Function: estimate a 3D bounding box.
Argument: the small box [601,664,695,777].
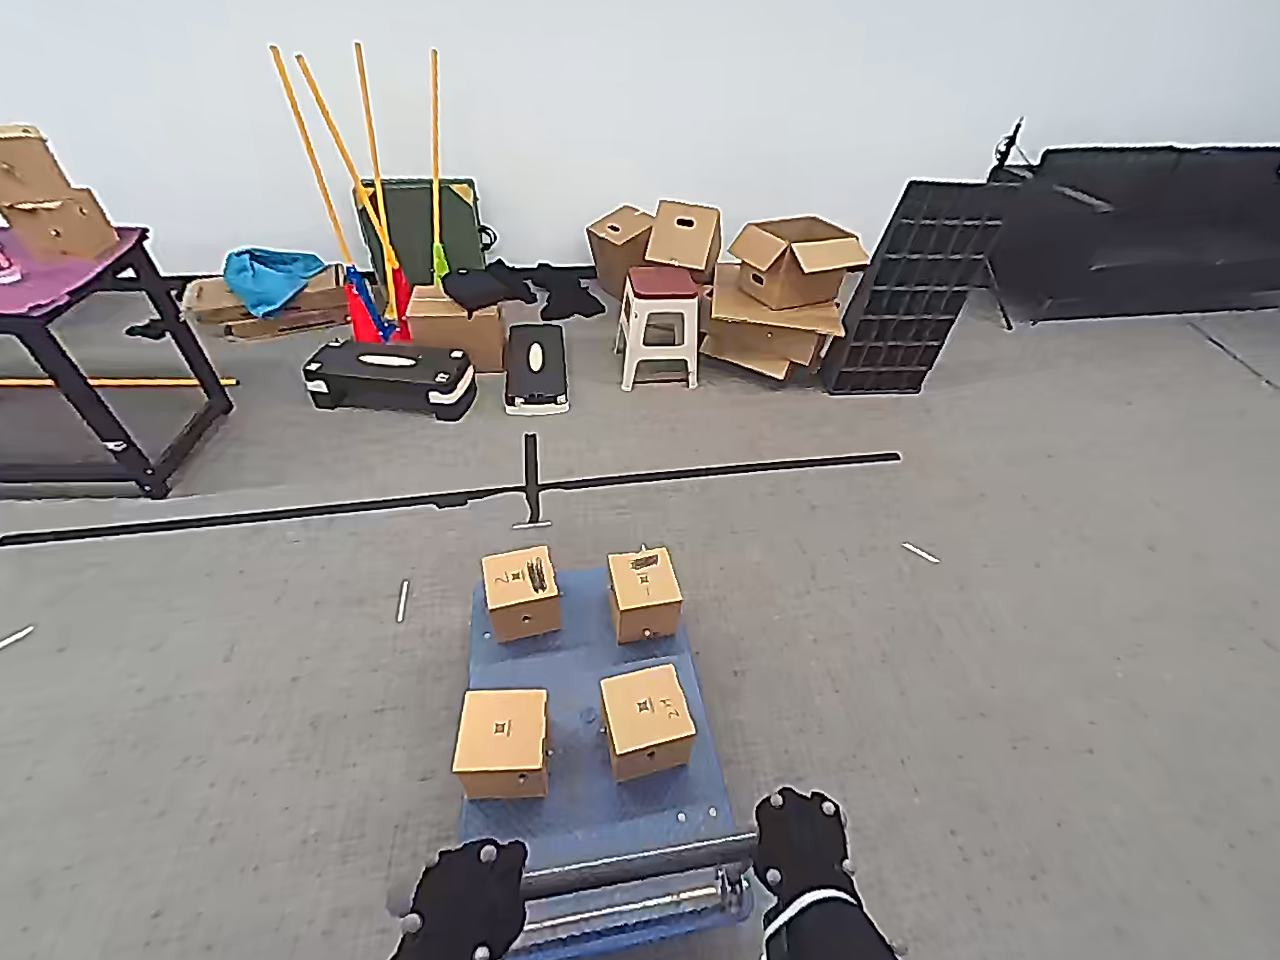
[{"bbox_3d":[0.012,0.550,1.233,0.179,0.176,0.168,-8,45,-13],"label":"small box"}]

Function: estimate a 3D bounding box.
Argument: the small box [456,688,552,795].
[{"bbox_3d":[-0.288,0.574,1.182,0.179,0.176,0.168,1,43,-6],"label":"small box"}]

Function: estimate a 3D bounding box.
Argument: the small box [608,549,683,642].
[{"bbox_3d":[0.008,0.315,1.479,0.168,0.176,0.179,-6,46,-11],"label":"small box"}]
